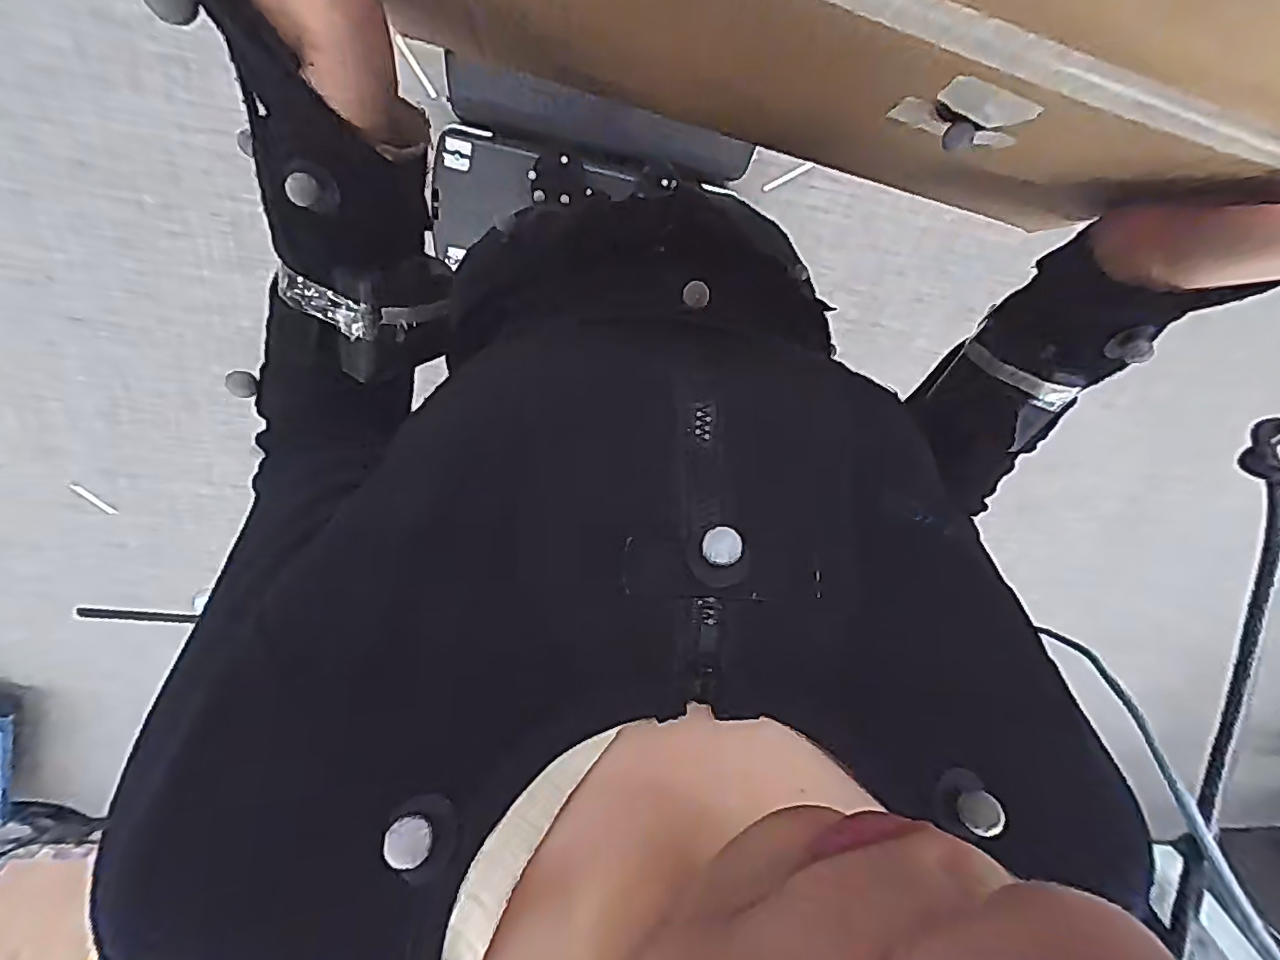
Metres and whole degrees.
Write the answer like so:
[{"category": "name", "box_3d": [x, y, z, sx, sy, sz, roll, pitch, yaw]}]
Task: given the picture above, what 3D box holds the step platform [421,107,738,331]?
[{"category": "step platform", "box_3d": [-0.128, -0.571, 1.227, 0.684, 0.204, 0.286, 12, 122, -13]}]
